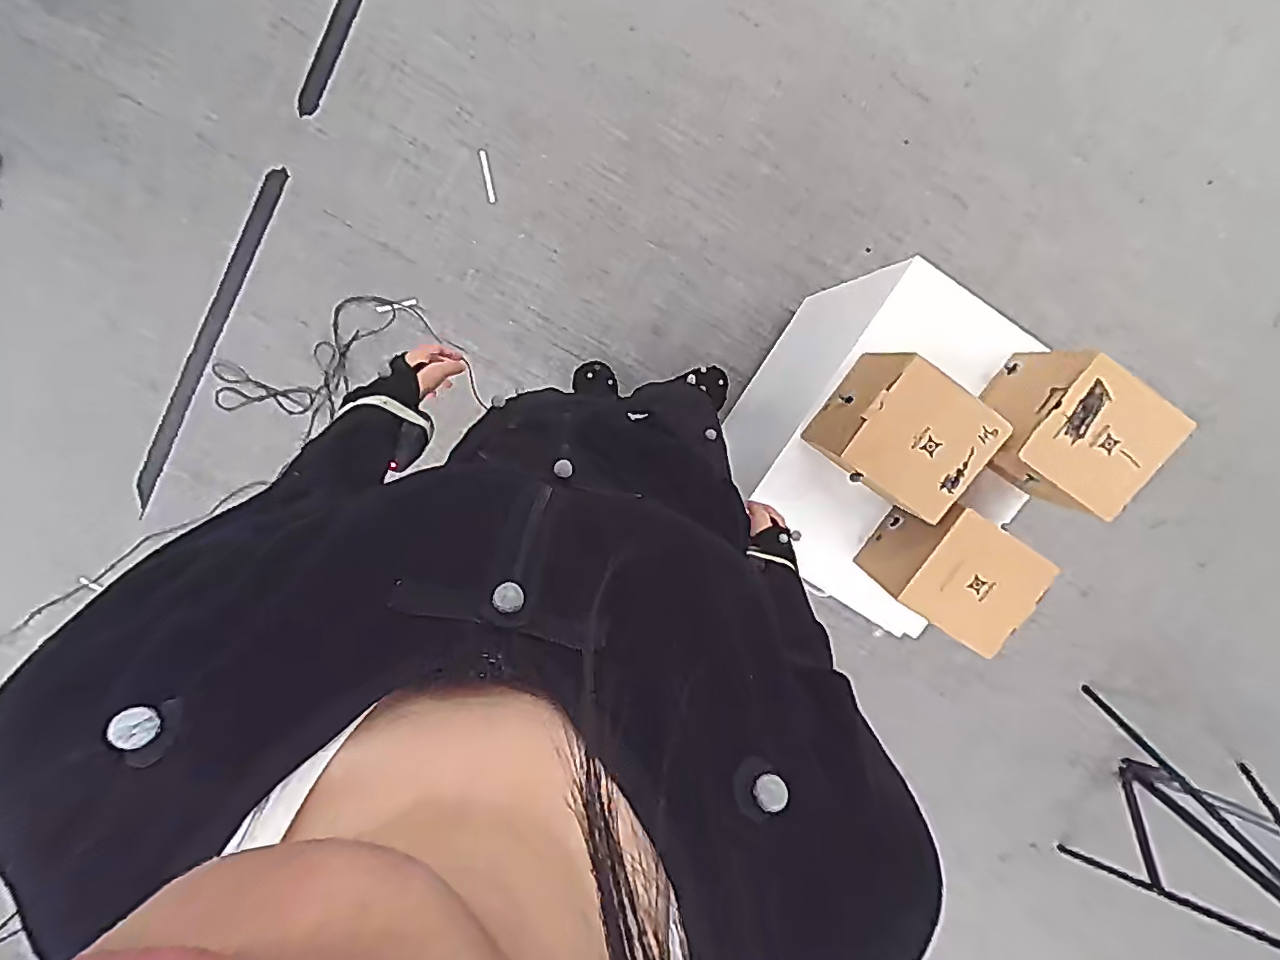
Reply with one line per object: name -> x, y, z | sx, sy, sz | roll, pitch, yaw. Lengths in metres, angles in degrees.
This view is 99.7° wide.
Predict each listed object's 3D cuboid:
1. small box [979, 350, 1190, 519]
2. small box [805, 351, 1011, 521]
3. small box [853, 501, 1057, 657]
small box -> 0.611, -0.072, 0.796 | 0.179, 0.176, 0.168 | 33, 101, -7
small box -> 0.375, -0.070, 0.796 | 0.179, 0.176, 0.168 | 34, 100, -7
small box -> 0.474, 0.132, 0.842 | 0.179, 0.176, 0.168 | 32, 99, -5
